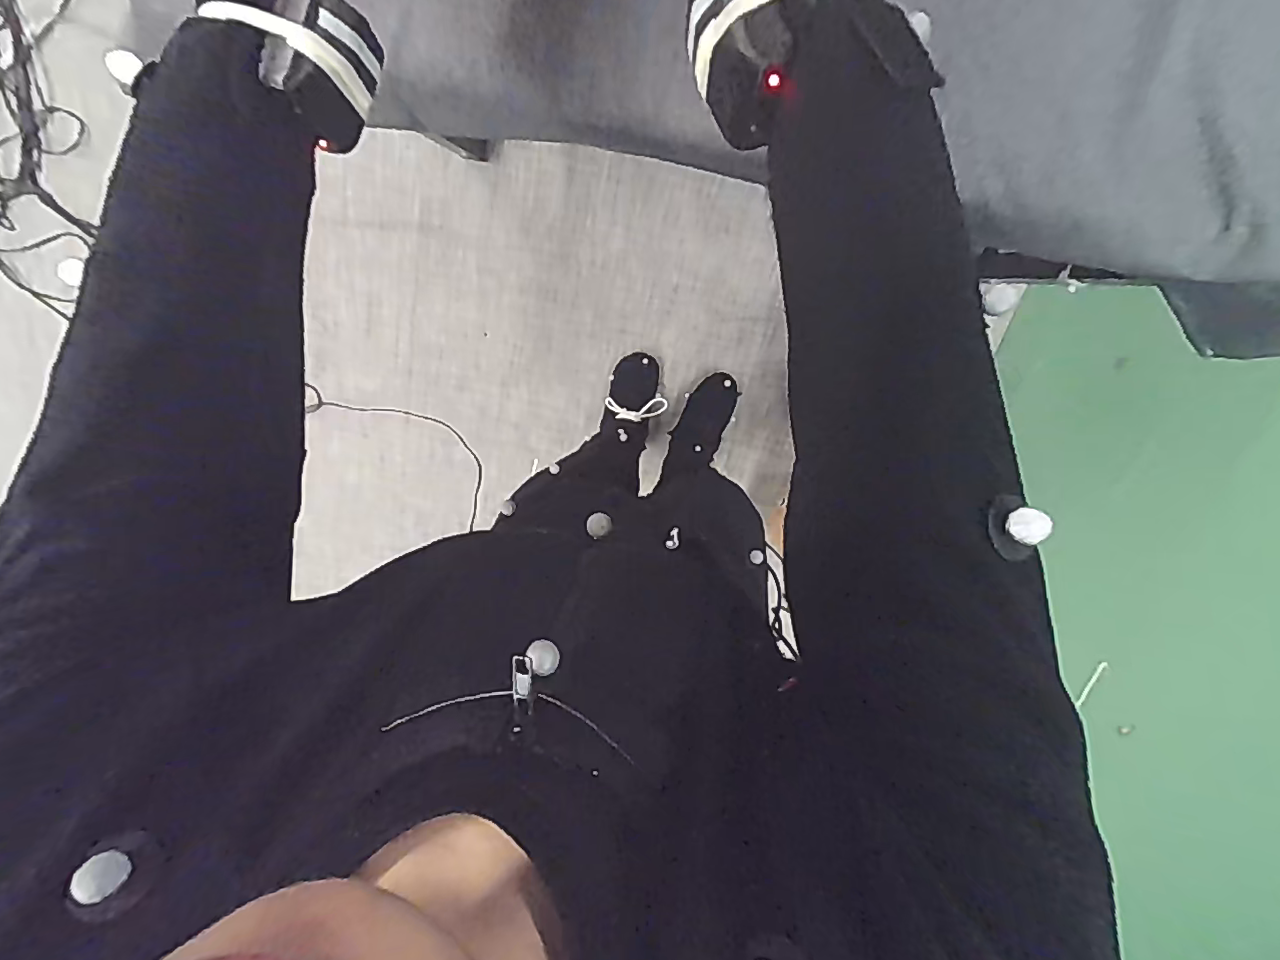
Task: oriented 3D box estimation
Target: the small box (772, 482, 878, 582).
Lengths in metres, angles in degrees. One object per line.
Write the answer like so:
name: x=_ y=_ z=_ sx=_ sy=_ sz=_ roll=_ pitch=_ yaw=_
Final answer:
small box: x=0.440 y=0.119 z=1.316 sx=0.179 sy=0.176 sz=0.168 roll=15 pitch=109 yaw=0
